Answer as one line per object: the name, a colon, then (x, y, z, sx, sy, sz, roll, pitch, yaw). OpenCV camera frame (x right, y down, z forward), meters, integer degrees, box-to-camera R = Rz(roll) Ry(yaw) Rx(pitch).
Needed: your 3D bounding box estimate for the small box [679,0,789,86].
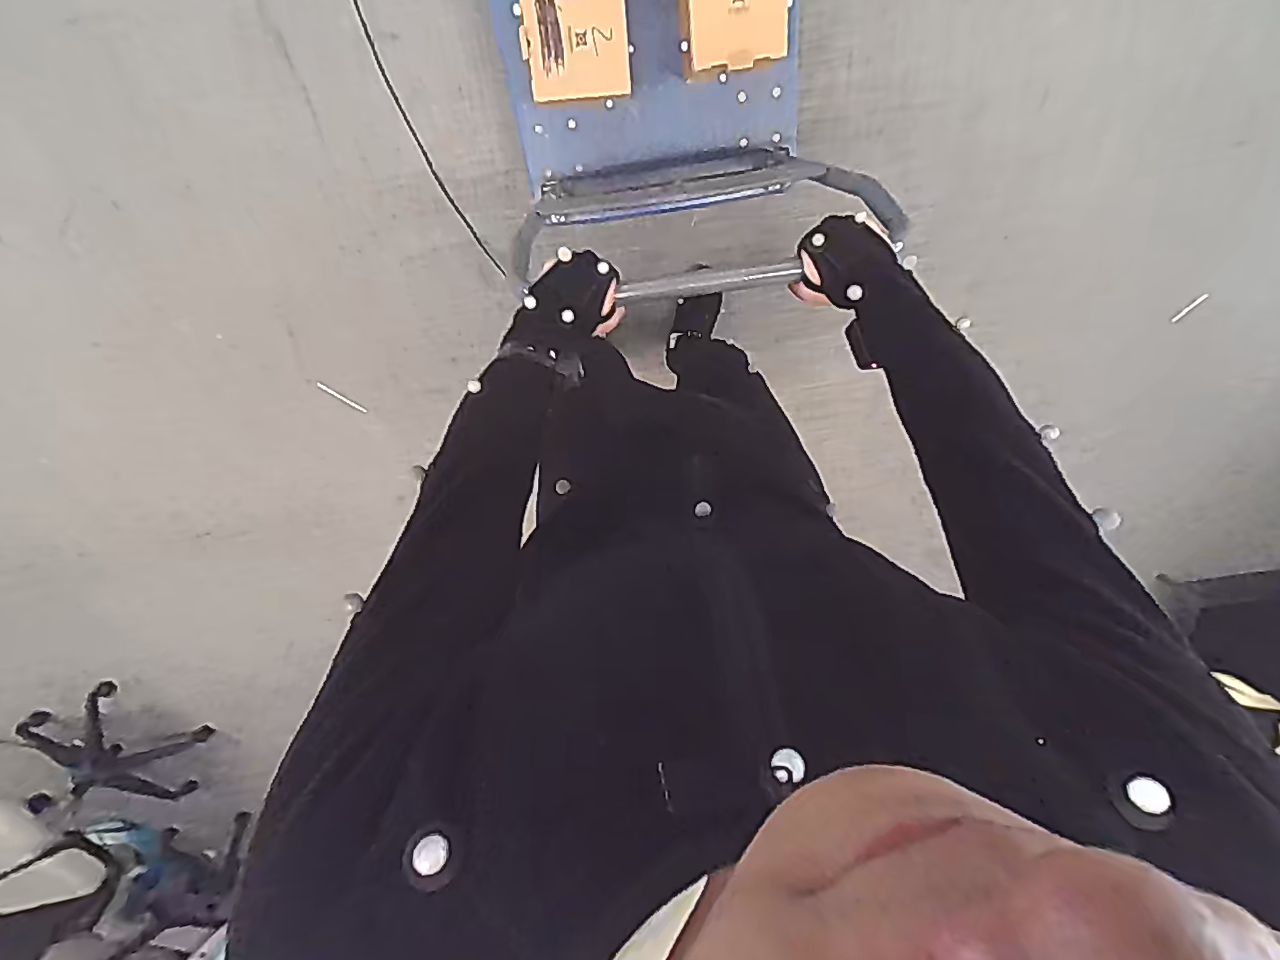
small box: (0.162, -0.834, 0.969, 0.168, 0.176, 0.179, -7, 121, 2)
